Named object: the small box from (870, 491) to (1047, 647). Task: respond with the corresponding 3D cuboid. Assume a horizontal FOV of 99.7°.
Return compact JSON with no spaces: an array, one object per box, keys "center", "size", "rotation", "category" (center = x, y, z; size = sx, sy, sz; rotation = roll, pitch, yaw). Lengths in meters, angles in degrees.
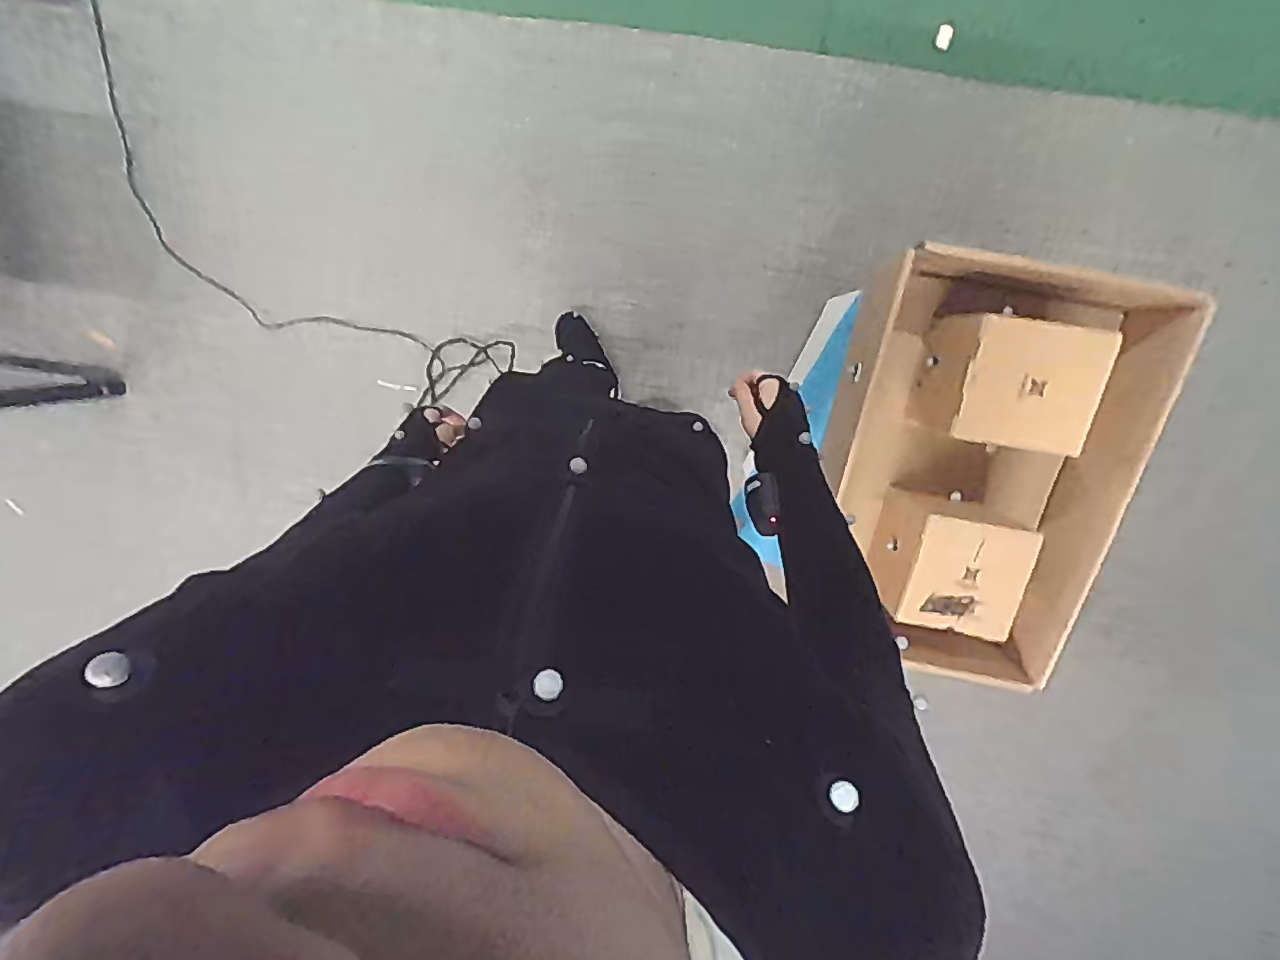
[{"center":[0.489,0.134,0.864],"size":[0.168,0.176,0.179],"rotation":[11,105,2],"category":"small box"}]
